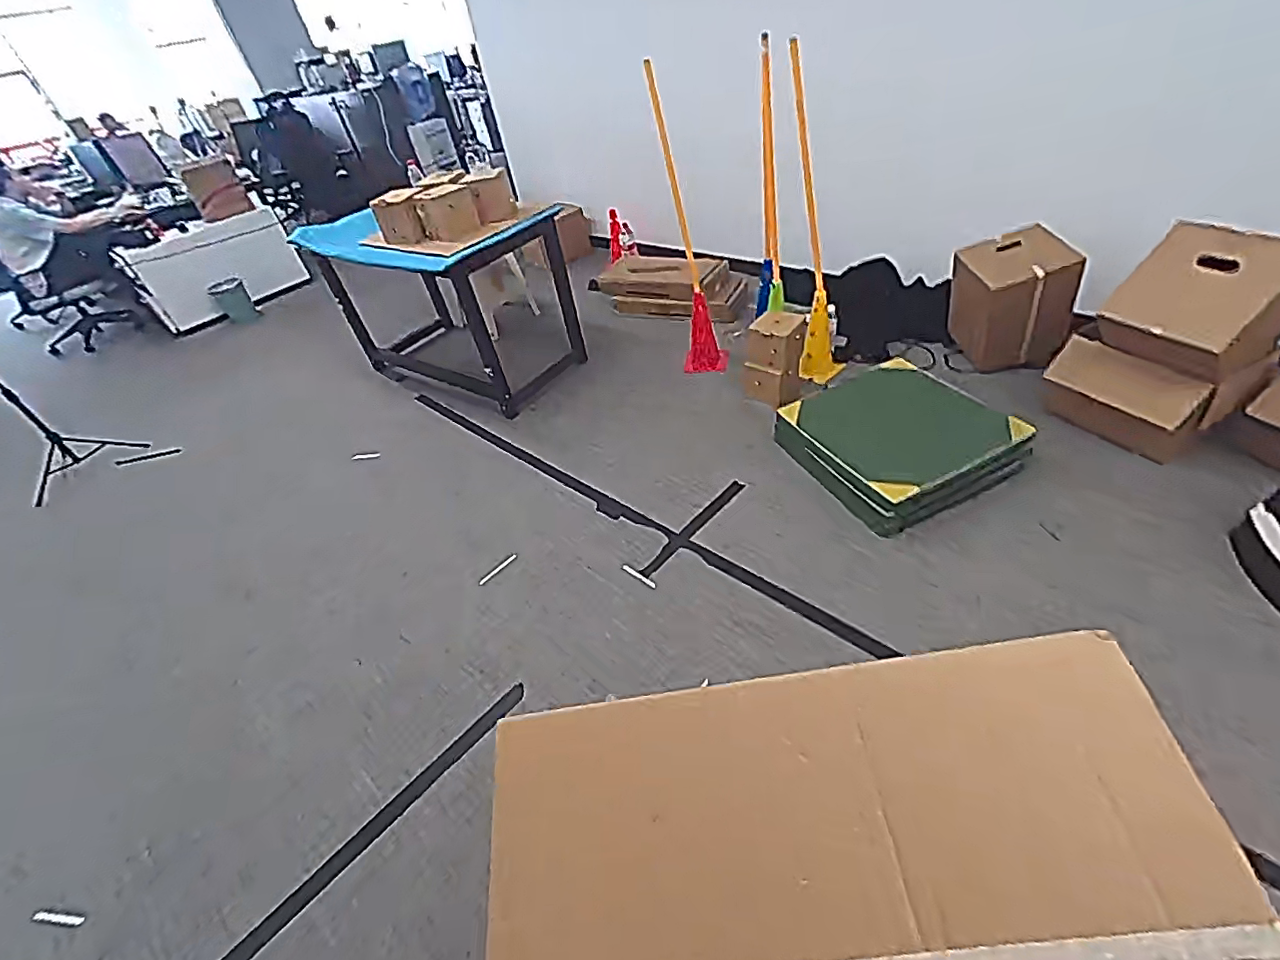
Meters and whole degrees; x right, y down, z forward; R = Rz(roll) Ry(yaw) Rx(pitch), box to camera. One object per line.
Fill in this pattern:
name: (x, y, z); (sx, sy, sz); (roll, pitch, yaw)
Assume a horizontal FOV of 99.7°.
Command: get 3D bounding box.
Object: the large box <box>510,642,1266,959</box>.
large box: (0.144, 0.349, 0.415); (0.408, 0.320, 0.320); (-11, 58, 6)
